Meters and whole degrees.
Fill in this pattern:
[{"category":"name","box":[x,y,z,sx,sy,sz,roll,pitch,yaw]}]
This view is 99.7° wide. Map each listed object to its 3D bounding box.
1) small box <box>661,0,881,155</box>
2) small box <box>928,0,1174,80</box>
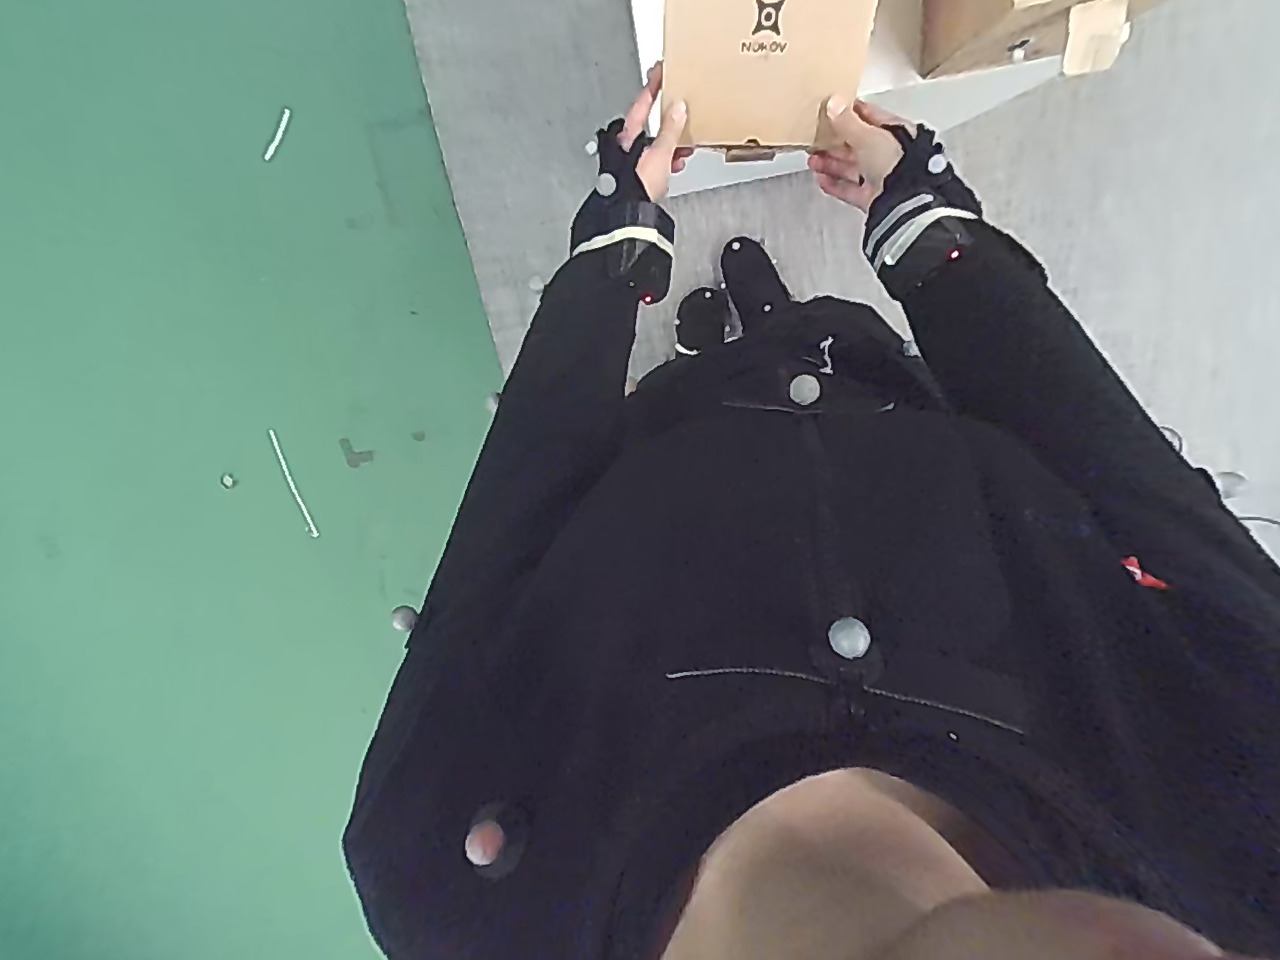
[{"category":"small box","box":[0.105,-0.410,0.480,0.168,0.176,0.179,1,134,2]},{"category":"small box","box":[0.369,-0.491,0.467,0.168,0.176,0.179,-8,109,6]}]
